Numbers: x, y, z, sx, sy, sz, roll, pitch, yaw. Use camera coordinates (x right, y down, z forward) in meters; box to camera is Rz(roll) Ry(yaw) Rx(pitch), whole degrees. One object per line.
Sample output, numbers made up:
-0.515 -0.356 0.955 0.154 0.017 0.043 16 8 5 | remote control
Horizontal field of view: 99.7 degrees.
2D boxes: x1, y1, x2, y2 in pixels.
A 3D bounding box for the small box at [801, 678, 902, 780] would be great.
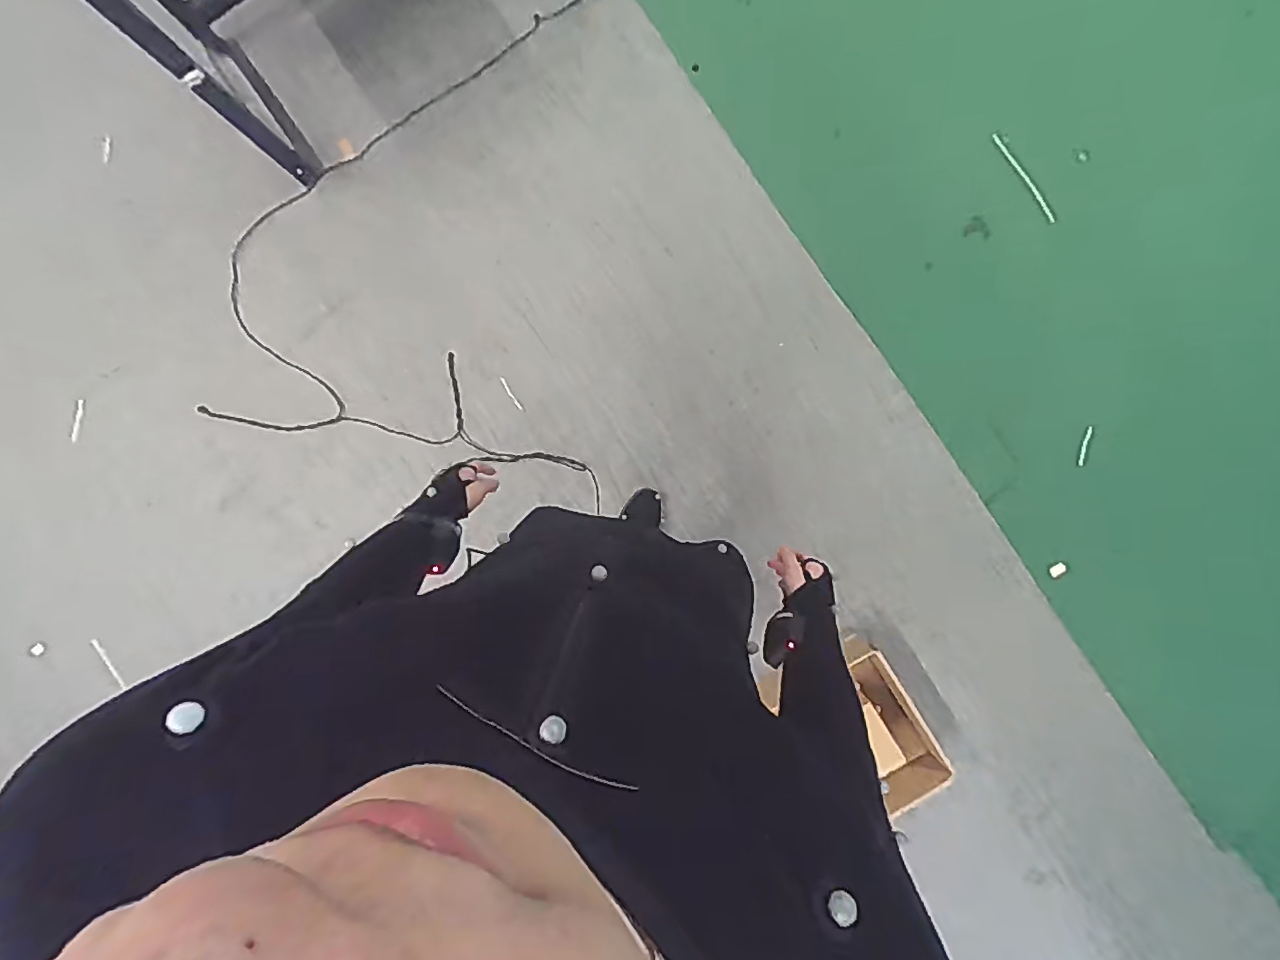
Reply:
0.567 0.667 1.479 0.168 0.176 0.179 -32 87 2 | small box
